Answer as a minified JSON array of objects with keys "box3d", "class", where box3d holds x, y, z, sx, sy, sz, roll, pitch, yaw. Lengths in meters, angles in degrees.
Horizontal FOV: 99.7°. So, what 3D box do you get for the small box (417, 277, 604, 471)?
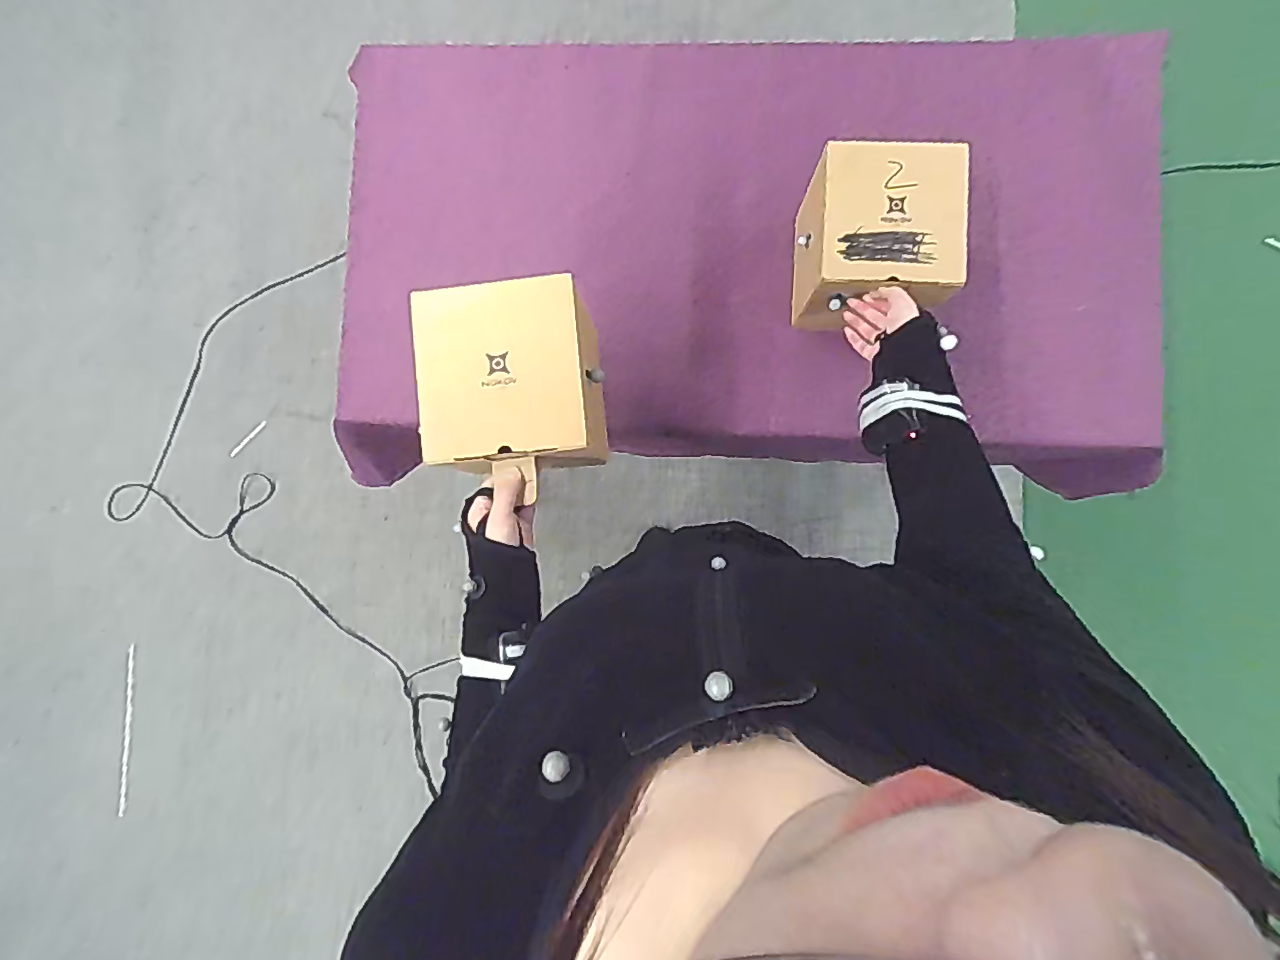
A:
[{"box3d":[-0.137,-0.109,0.625,0.168,0.176,0.179,-6,87,3],"class":"small box"}]
